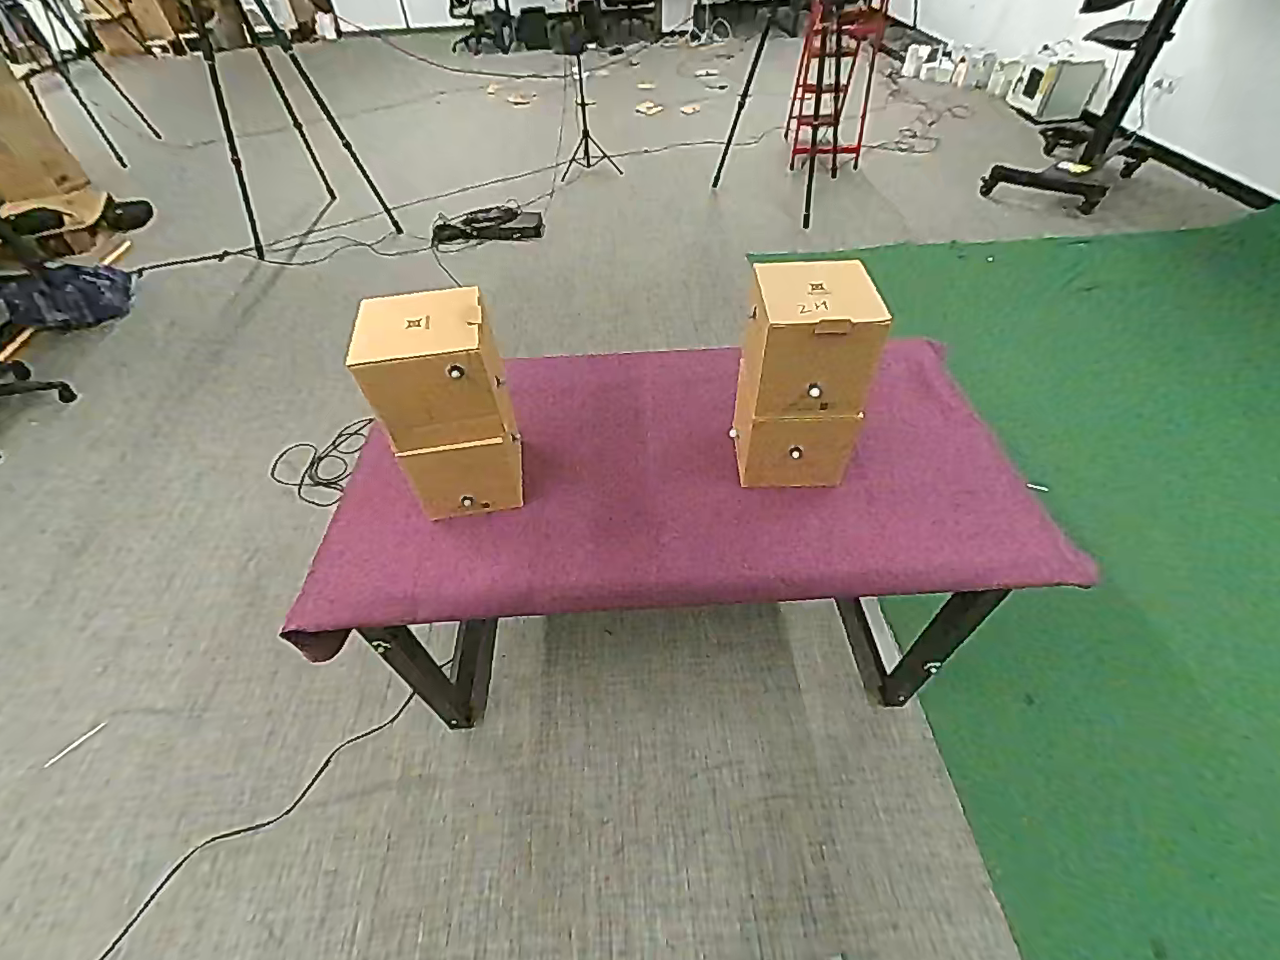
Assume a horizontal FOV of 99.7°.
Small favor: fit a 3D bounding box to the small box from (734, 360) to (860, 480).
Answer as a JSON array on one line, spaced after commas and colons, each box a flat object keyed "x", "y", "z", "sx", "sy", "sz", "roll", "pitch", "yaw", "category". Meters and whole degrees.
[{"x": 0.265, "y": -0.113, "z": 0.956, "sx": 0.179, "sy": 0.176, "sz": 0.168, "roll": 1, "pitch": 47, "yaw": 4, "category": "small box"}]

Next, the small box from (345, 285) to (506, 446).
[{"x": -0.312, "y": -0.170, "z": 0.825, "sx": 0.179, "sy": 0.176, "sz": 0.168, "roll": -10, "pitch": 50, "yaw": -6, "category": "small box"}]

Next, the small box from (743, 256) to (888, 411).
[{"x": 0.256, "y": -0.226, "z": 0.839, "sx": 0.168, "sy": 0.176, "sz": 0.179, "roll": -2, "pitch": 49, "yaw": 3, "category": "small box"}]
